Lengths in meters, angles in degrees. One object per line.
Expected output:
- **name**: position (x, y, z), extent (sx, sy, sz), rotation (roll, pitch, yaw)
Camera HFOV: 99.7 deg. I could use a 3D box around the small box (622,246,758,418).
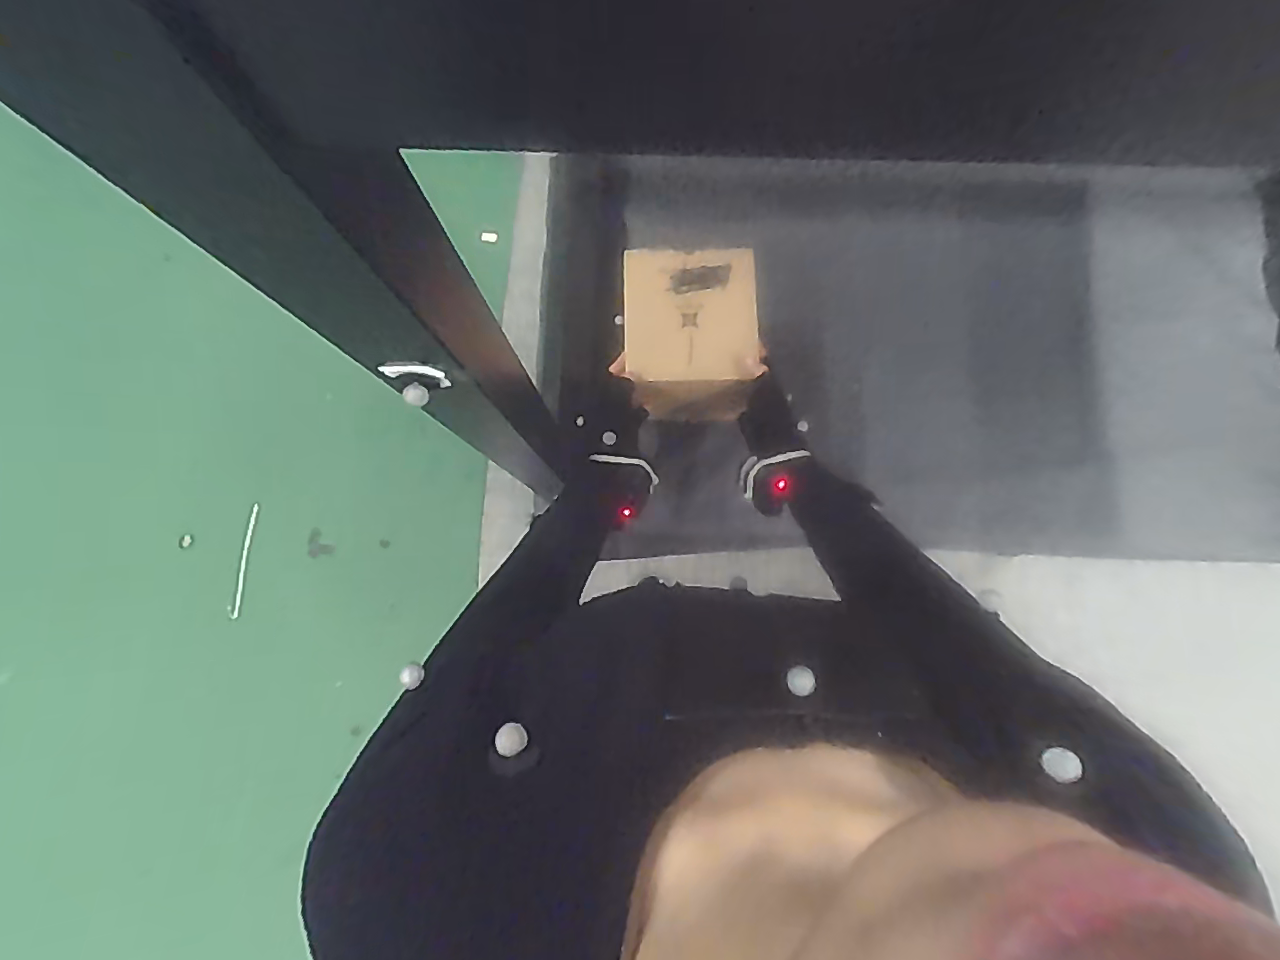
- **small box**: position (0.059, -0.193, 0.737), extent (0.168, 0.176, 0.179), rotation (0, 81, 1)
